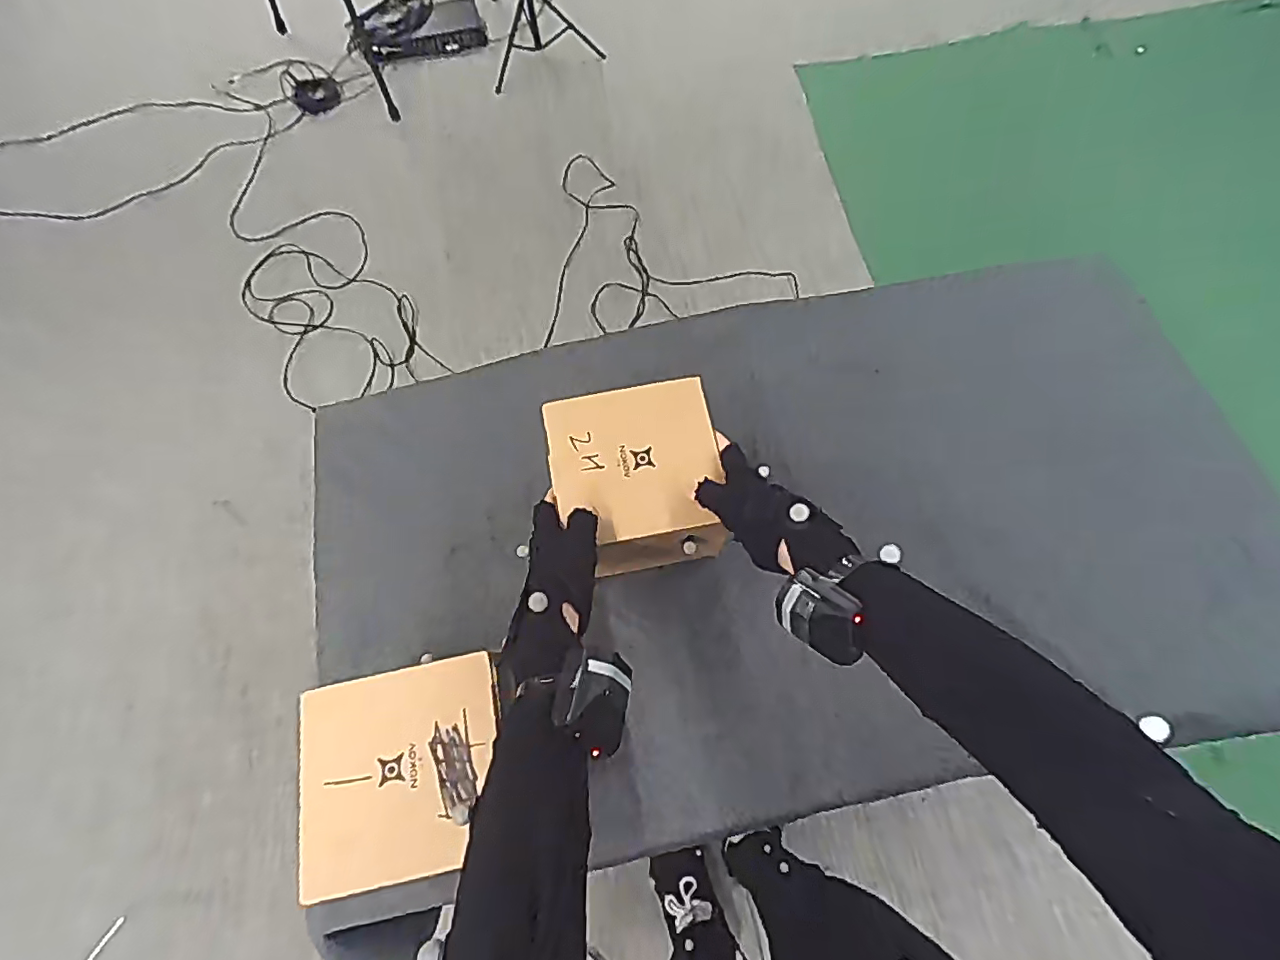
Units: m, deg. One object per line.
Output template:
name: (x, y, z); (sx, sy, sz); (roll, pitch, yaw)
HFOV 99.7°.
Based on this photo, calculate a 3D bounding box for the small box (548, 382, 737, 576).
small box: (-0.001, 0.008, 0.630); (0.179, 0.176, 0.168); (-10, 70, -2)

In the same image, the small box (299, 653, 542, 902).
small box: (-0.201, 0.274, 0.537); (0.179, 0.176, 0.168); (-12, 69, -2)
